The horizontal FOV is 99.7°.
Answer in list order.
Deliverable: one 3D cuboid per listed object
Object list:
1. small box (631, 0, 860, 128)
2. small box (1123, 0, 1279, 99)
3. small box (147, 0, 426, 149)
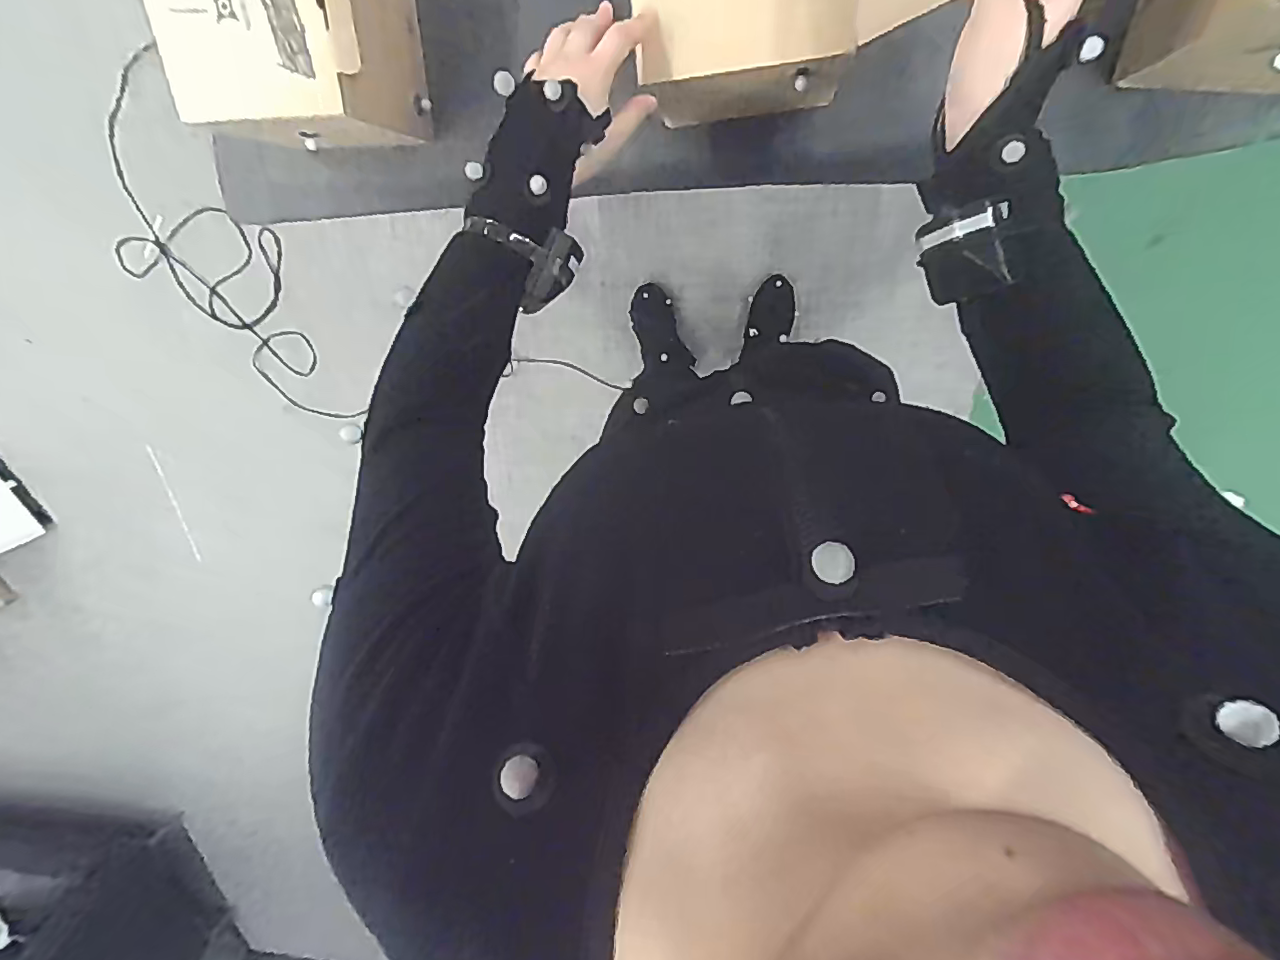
[{"bbox_3d":[0.090,-0.431,0.476,0.179,0.176,0.168,-1,112,11],"label":"small box"},{"bbox_3d":[0.529,-0.408,0.405,0.179,0.176,0.168,7,110,7],"label":"small box"},{"bbox_3d":[-0.336,-0.439,0.541,0.179,0.176,0.168,3,115,8],"label":"small box"}]
